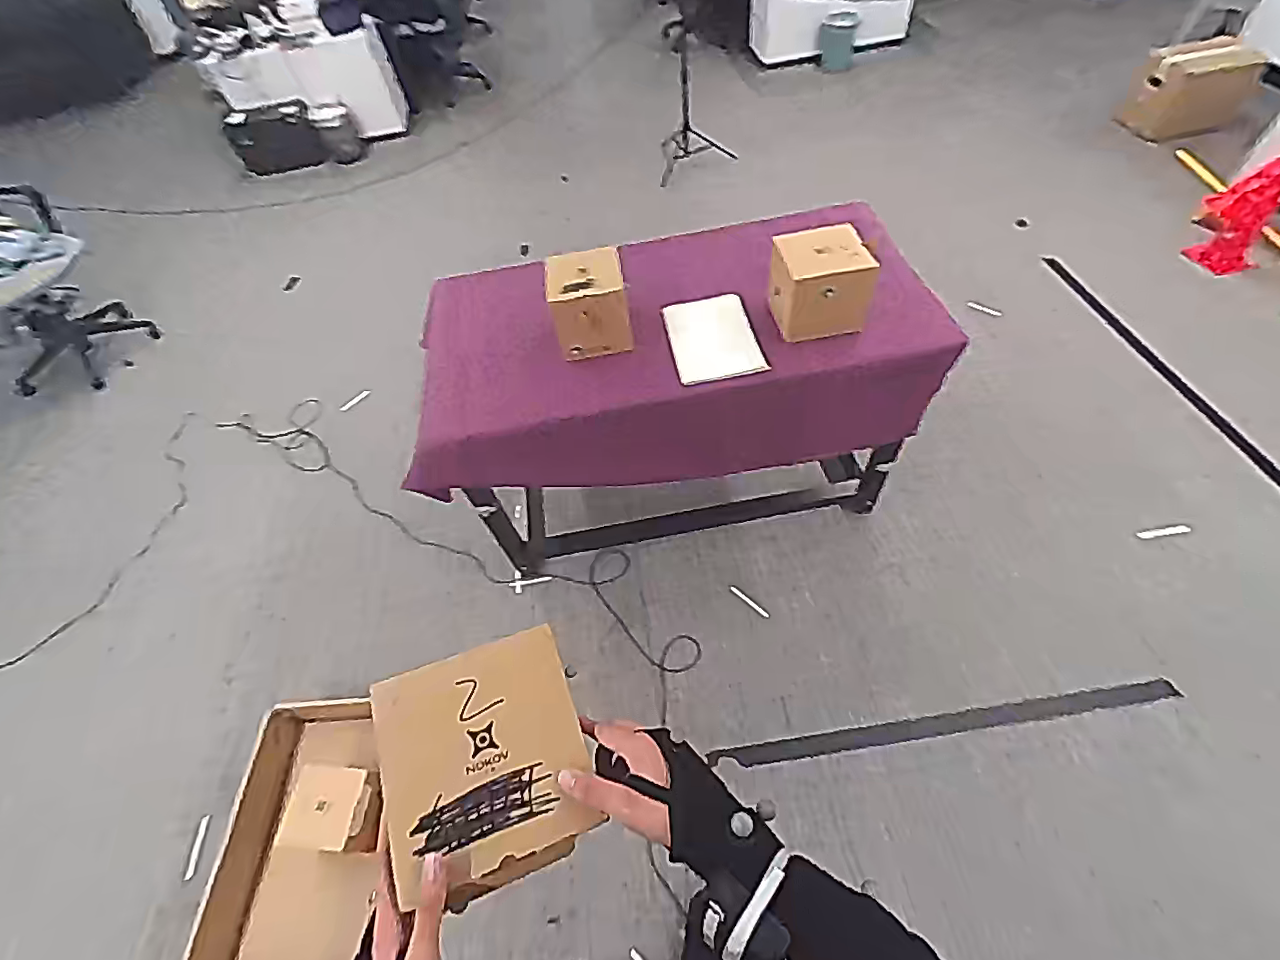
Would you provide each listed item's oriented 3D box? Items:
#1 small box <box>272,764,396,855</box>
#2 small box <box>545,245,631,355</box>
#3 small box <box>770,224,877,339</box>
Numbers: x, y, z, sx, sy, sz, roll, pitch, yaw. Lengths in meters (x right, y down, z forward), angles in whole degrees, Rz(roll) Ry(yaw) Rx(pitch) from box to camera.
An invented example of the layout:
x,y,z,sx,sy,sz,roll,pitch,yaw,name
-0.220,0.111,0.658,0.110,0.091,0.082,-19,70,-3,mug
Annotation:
x,y,z,sx,sy,sz,roll,pitch,yaw,name
-0.730,0.801,1.315,0.179,0.176,0.168,1,56,8,small box
-0.118,-0.405,1.244,0.168,0.176,0.179,-10,54,0,small box
0.393,-0.432,1.195,0.179,0.176,0.168,-9,55,1,small box
